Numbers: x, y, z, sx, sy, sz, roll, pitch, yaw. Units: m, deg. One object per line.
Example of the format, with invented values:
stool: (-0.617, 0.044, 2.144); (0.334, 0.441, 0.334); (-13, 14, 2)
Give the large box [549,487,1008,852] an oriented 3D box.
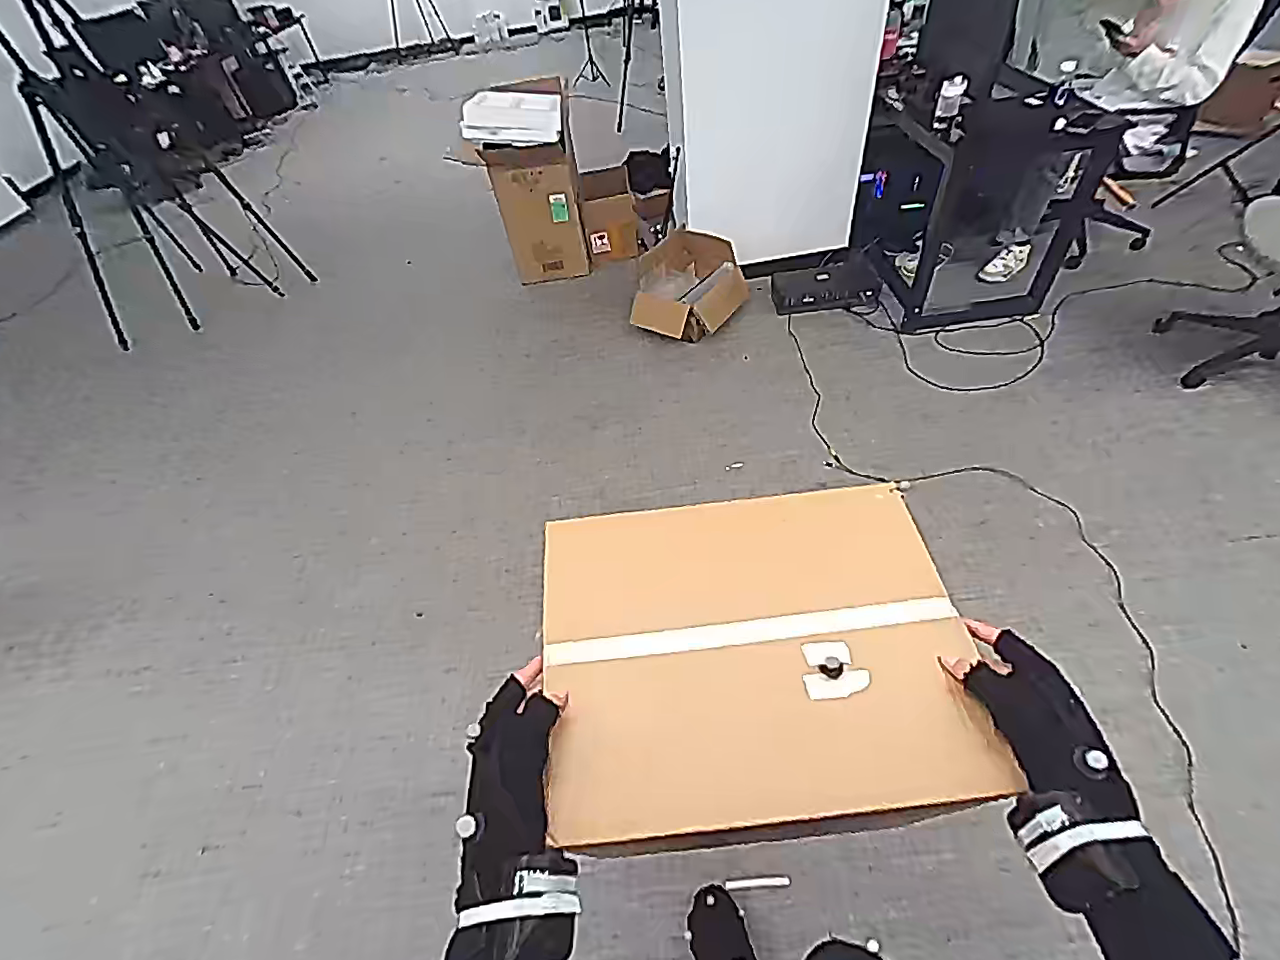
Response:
large box: (0.114, 0.242, 0.665); (0.408, 0.320, 0.320); (-6, 53, 0)
